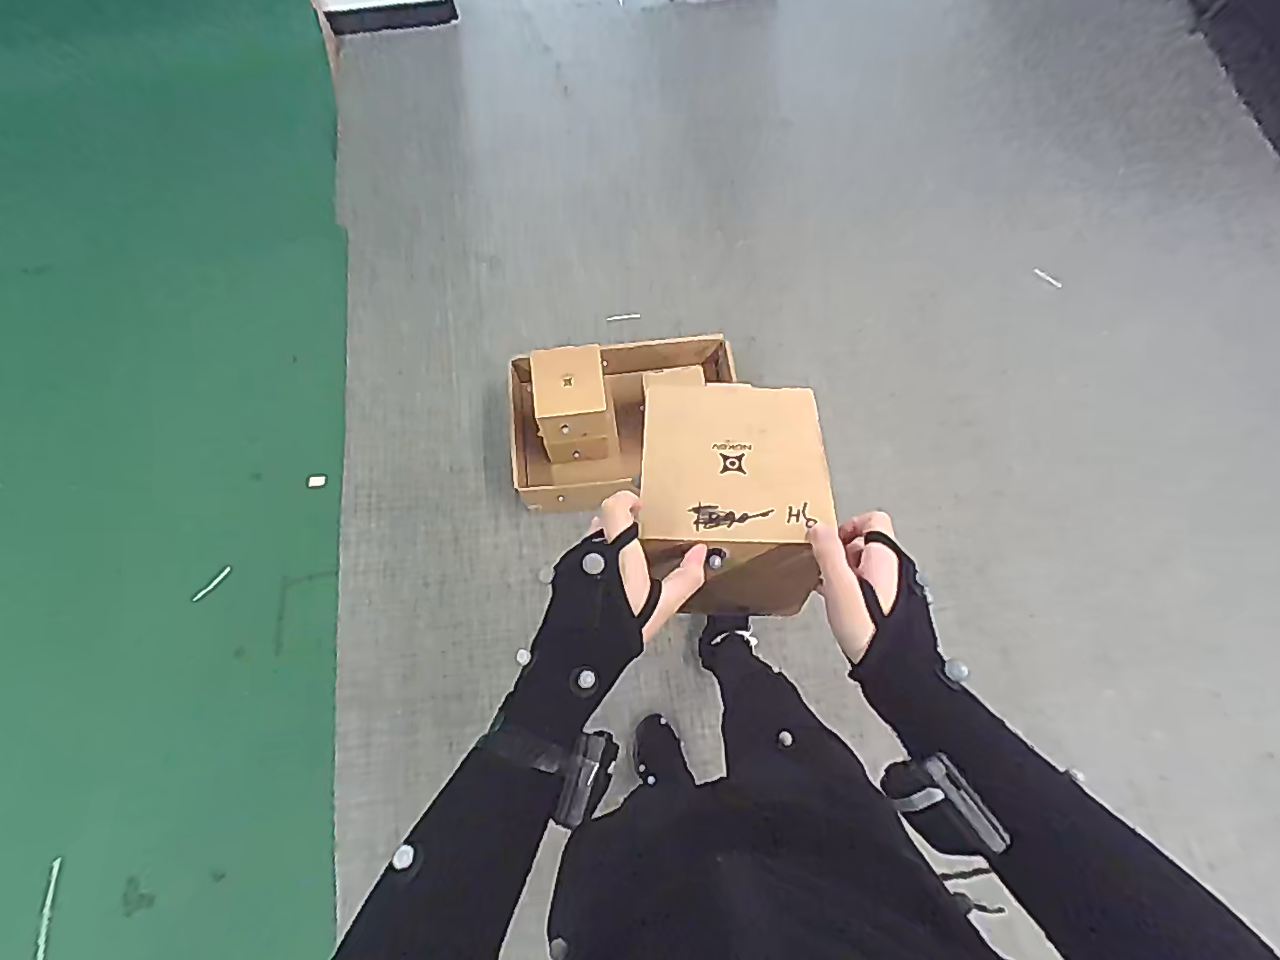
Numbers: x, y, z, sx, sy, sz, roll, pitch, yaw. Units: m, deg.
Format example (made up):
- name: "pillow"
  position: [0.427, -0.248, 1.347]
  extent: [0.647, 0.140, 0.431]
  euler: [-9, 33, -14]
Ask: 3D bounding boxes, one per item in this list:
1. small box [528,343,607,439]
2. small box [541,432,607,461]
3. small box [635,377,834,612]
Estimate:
- name: "small box"
  position: [-0.172, -0.209, 1.324]
  extent: [0.168, 0.176, 0.179]
  euler: [-7, 73, -3]
- name: "small box"
  position: [-0.180, -0.159, 1.479]
  extent: [0.168, 0.176, 0.179]
  euler: [-6, 72, -4]
- name: "small box"
  position: [0.083, 0.018, 0.553]
  extent: [0.168, 0.176, 0.179]
  euler: [2, 56, 3]
